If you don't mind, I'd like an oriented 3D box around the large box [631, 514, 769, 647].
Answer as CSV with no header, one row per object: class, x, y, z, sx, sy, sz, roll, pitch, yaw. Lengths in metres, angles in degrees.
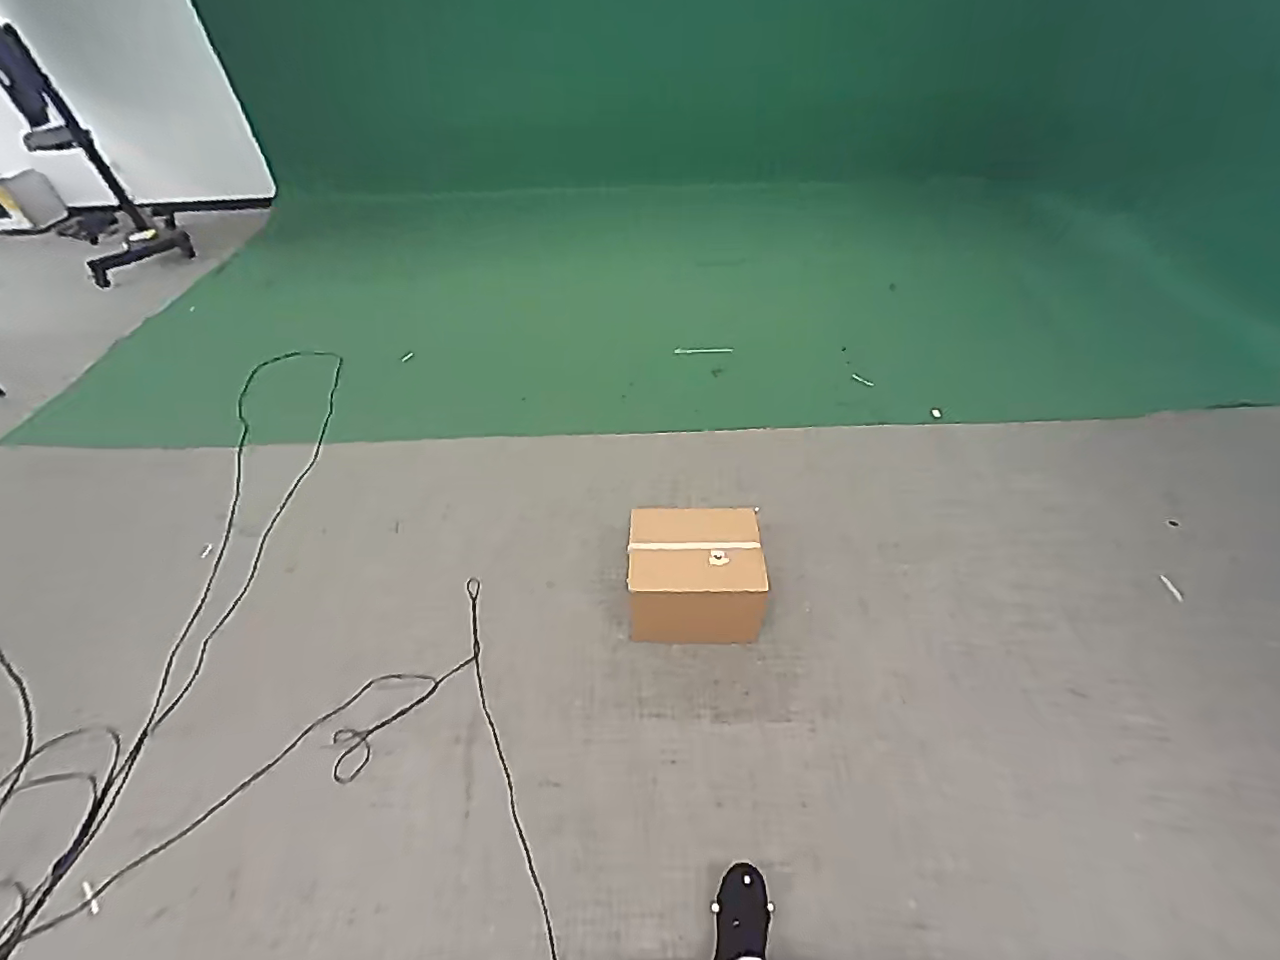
large box,0.175,0.327,1.751,0.408,0.320,0.320,0,45,2
